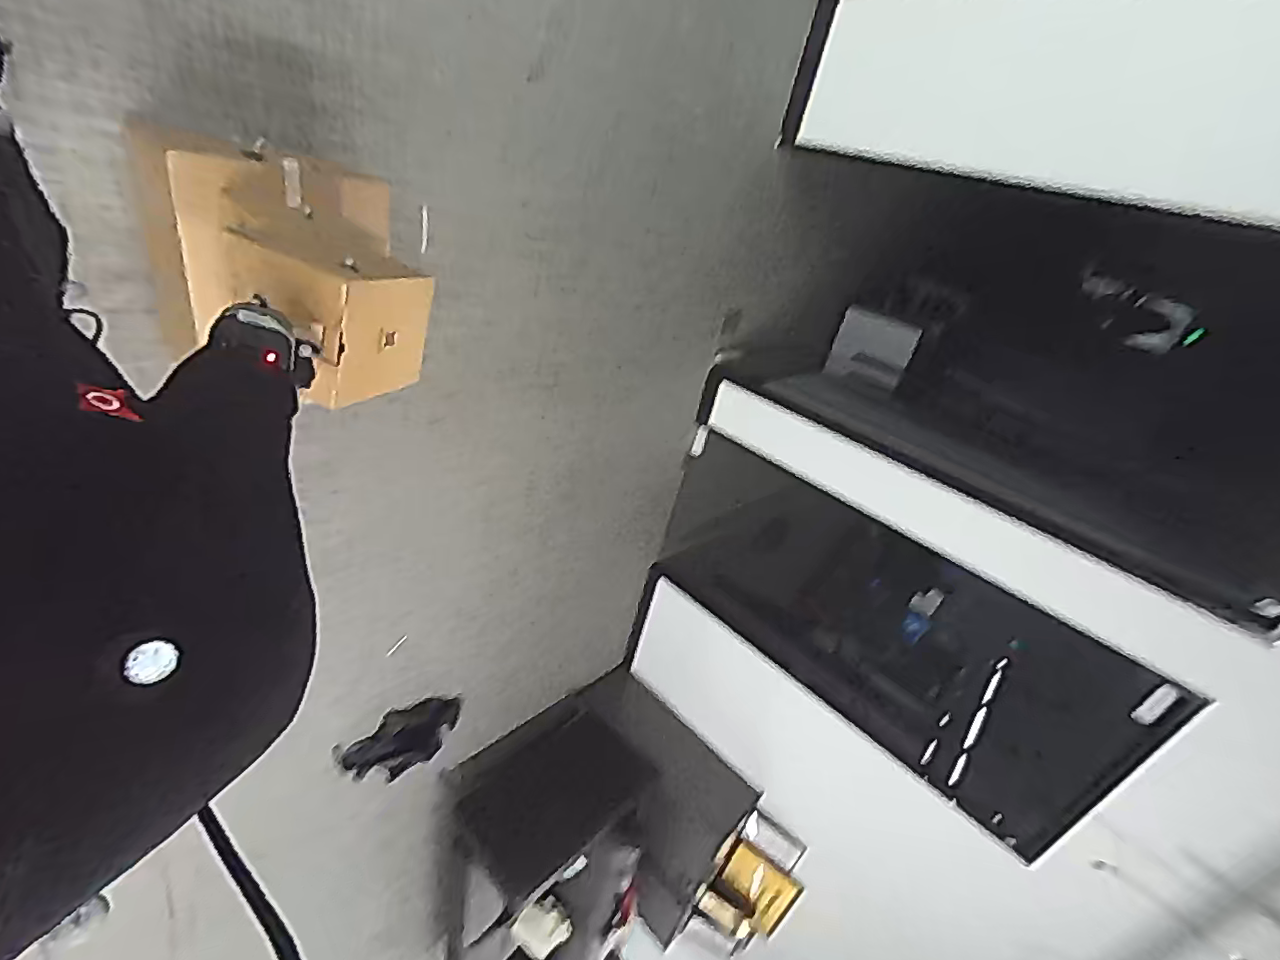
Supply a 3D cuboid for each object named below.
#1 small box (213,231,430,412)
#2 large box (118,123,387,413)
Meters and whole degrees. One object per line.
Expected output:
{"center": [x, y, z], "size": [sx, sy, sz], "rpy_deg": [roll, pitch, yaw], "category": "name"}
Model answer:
{"center": [-0.414, -0.216, 0.717], "size": [0.179, 0.176, 0.168], "rpy_deg": [-59, 172, -64], "category": "small box"}
{"center": [-0.701, -0.390, 1.018], "size": [0.320, 0.320, 0.408], "rpy_deg": [-18, 133, -44], "category": "large box"}
